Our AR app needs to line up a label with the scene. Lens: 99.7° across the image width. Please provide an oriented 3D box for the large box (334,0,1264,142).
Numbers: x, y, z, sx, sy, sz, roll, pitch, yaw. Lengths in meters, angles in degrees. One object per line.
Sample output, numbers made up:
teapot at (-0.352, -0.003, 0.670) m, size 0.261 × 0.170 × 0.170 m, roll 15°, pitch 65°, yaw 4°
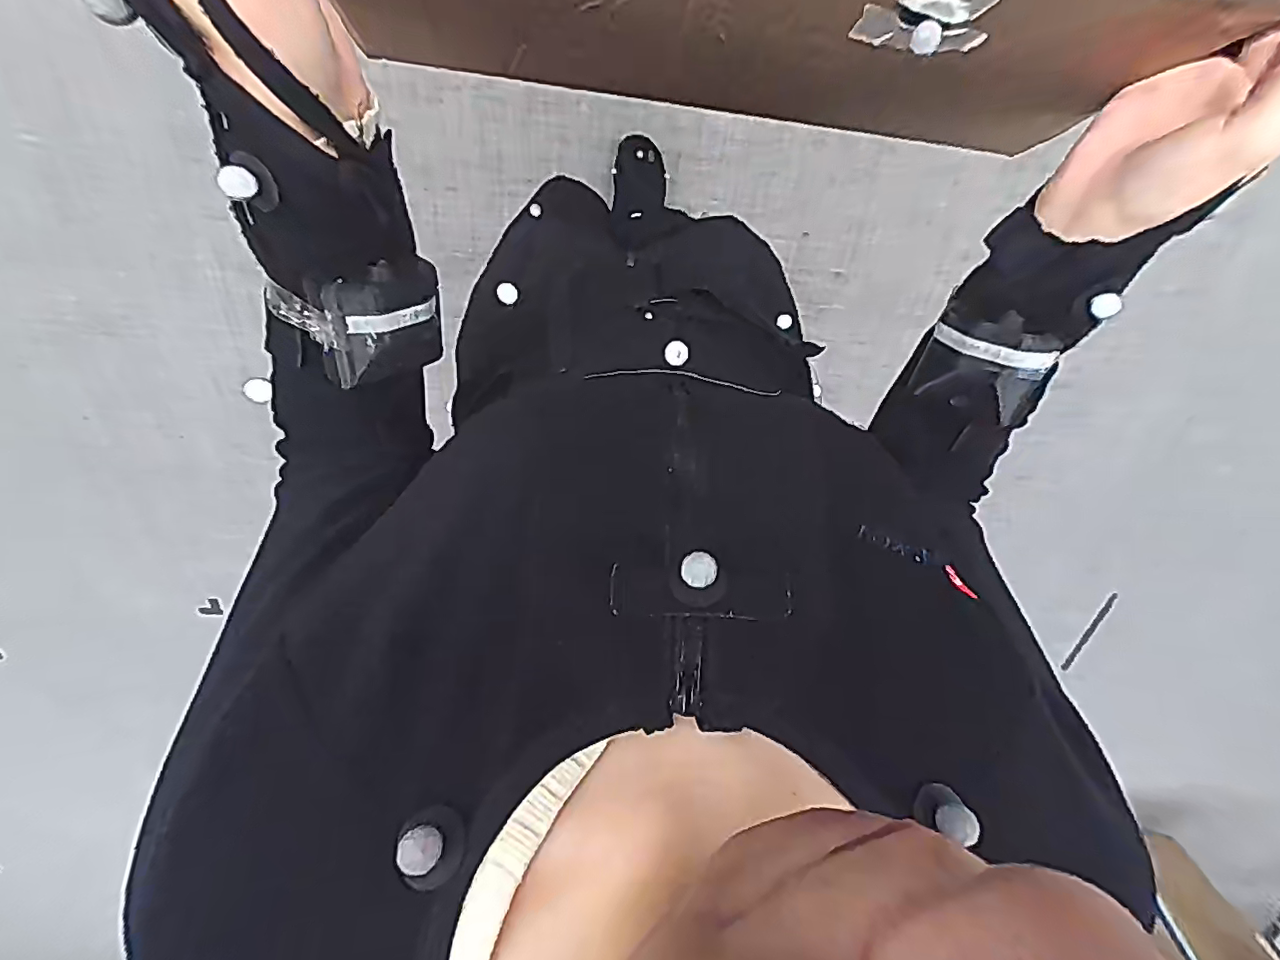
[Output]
large box at (0.068, -0.355, 0.161) m, size 0.408 × 0.320 × 0.320 m, roll 2°, pitch 100°, yaw -8°
